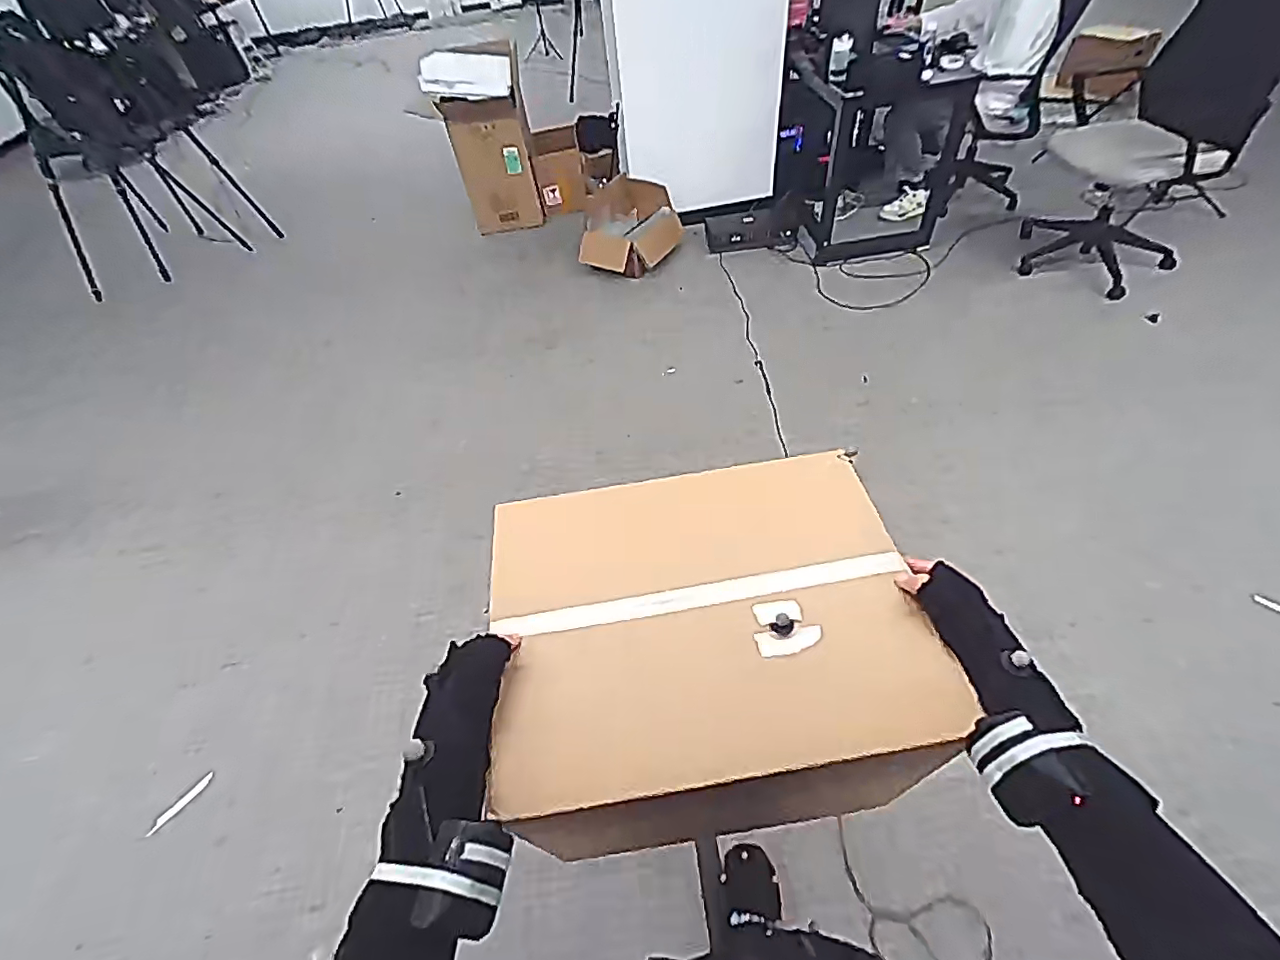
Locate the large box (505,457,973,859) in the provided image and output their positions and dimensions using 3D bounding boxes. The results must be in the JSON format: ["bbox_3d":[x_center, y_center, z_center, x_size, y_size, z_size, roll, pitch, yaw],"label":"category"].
[{"bbox_3d":[0.073,0.216,0.649,0.408,0.320,0.320,-9,49,-2],"label":"large box"}]
